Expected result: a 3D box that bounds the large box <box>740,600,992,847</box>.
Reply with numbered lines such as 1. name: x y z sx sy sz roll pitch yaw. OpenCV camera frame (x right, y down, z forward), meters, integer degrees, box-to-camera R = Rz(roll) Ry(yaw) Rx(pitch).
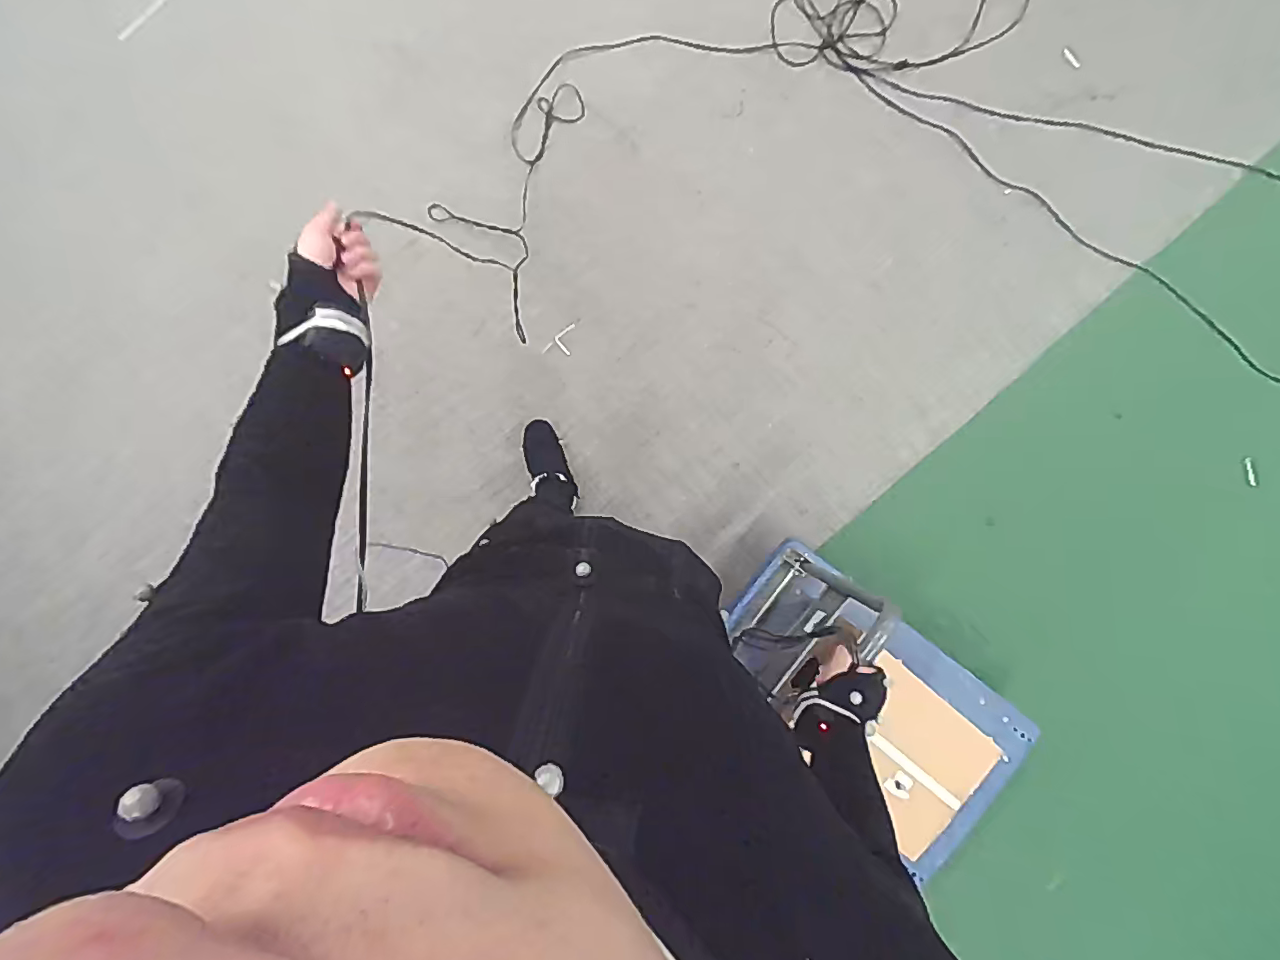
1. large box: 0.517 0.559 1.320 0.408 0.320 0.320 41 90 -2
